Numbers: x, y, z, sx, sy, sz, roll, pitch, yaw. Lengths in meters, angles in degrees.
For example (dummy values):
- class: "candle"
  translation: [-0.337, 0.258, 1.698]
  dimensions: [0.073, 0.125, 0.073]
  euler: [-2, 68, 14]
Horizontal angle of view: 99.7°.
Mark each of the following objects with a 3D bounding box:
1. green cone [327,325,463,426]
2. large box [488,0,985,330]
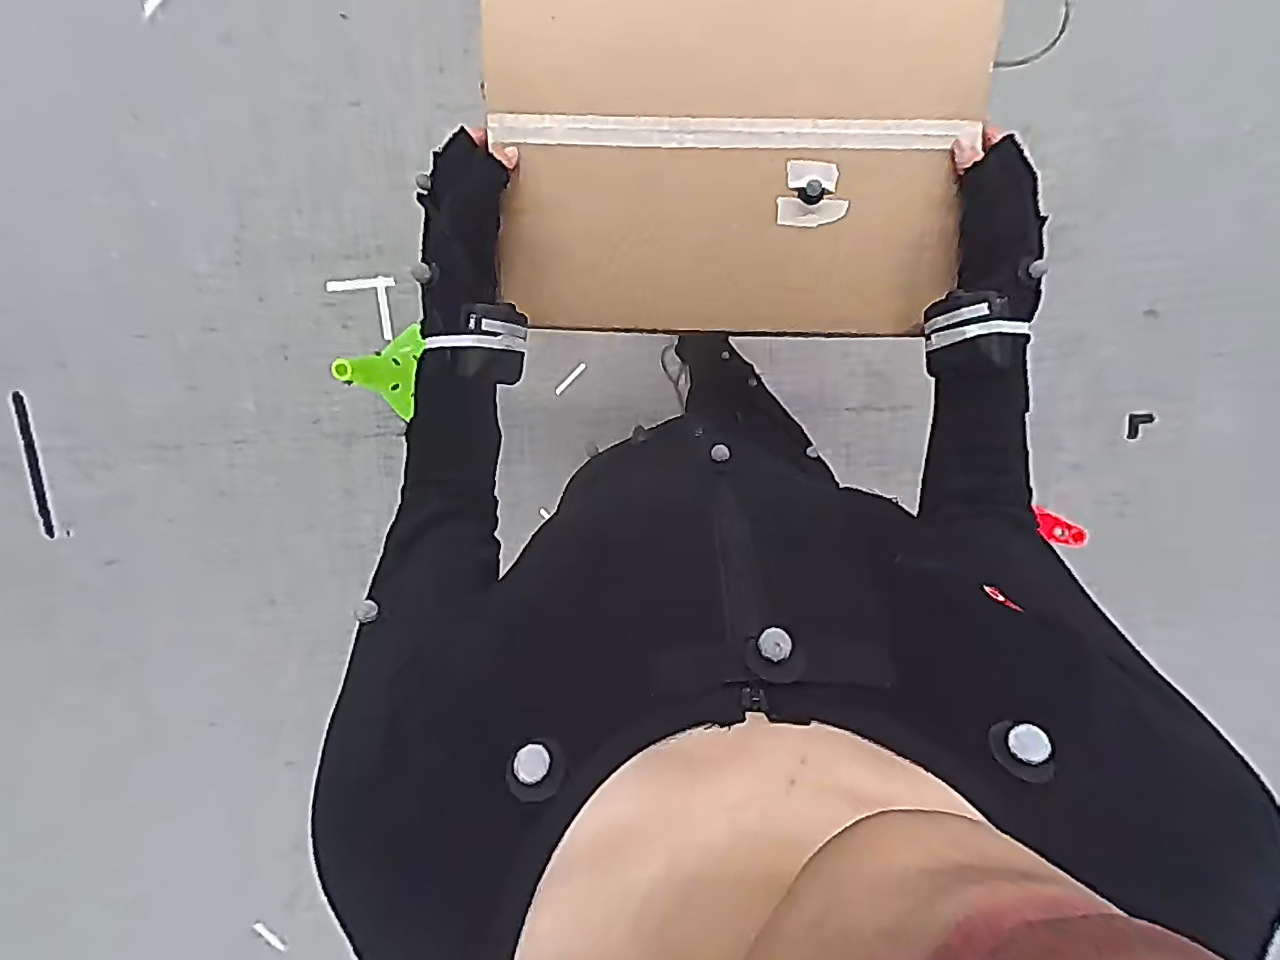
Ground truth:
- class: "green cone"
  translation: [-0.593, -0.244, 1.242]
  dimensions: [0.202, 0.368, 0.200]
  euler: [-40, 96, 7]
- class: "large box"
  translation: [0.075, -0.331, 0.597]
  dimensions: [0.408, 0.320, 0.320]
  euler: [1, 105, 0]
